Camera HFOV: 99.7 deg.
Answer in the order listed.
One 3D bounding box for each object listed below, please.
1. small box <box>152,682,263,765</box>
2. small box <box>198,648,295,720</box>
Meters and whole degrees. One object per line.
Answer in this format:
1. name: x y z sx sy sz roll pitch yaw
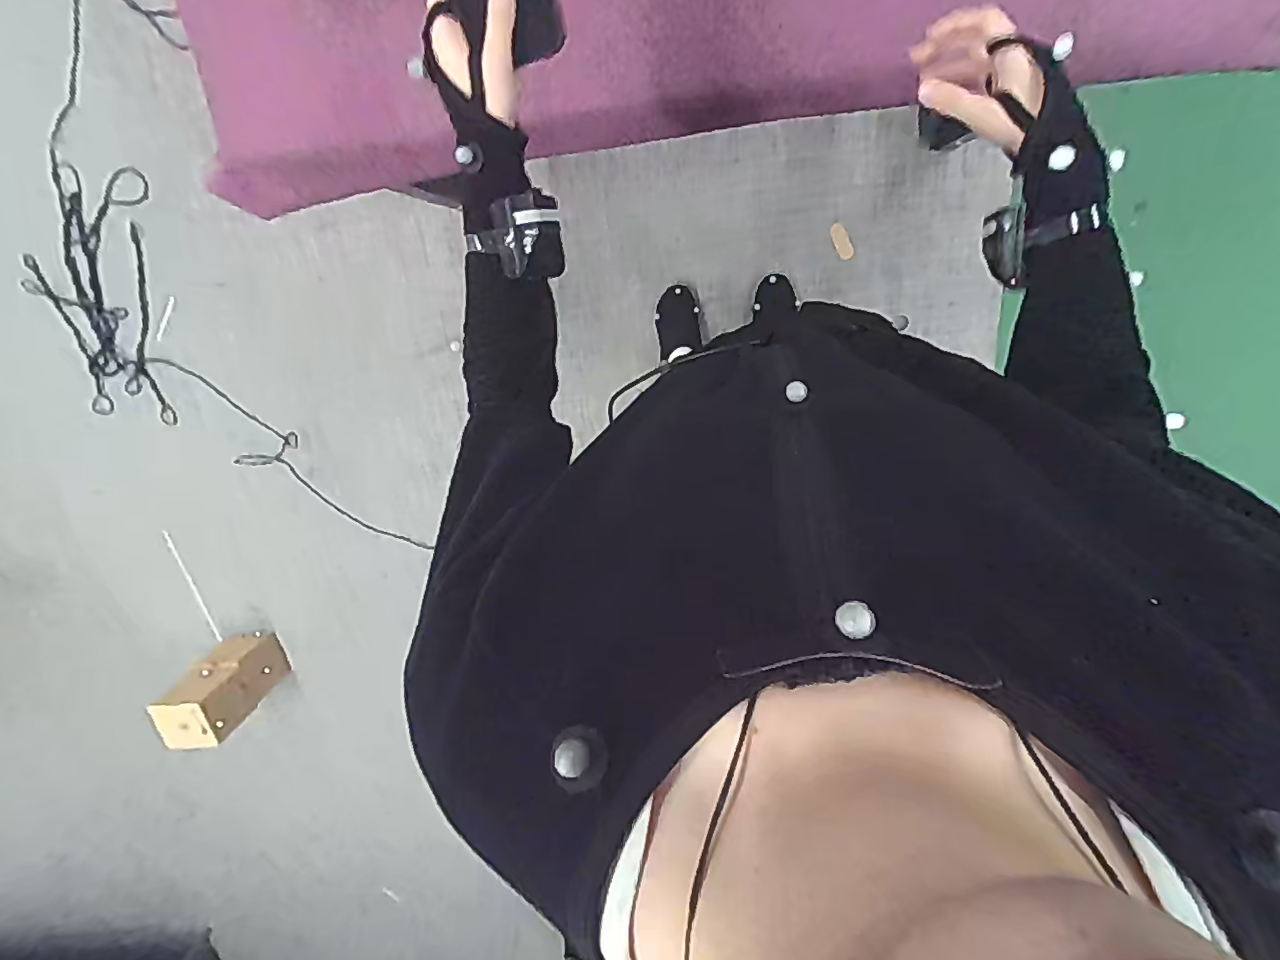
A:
1. small box: -1.325 0.748 1.669 0.179 0.176 0.168 -6 110 7
2. small box: -1.316 0.685 1.820 0.168 0.176 0.179 -7 110 7
